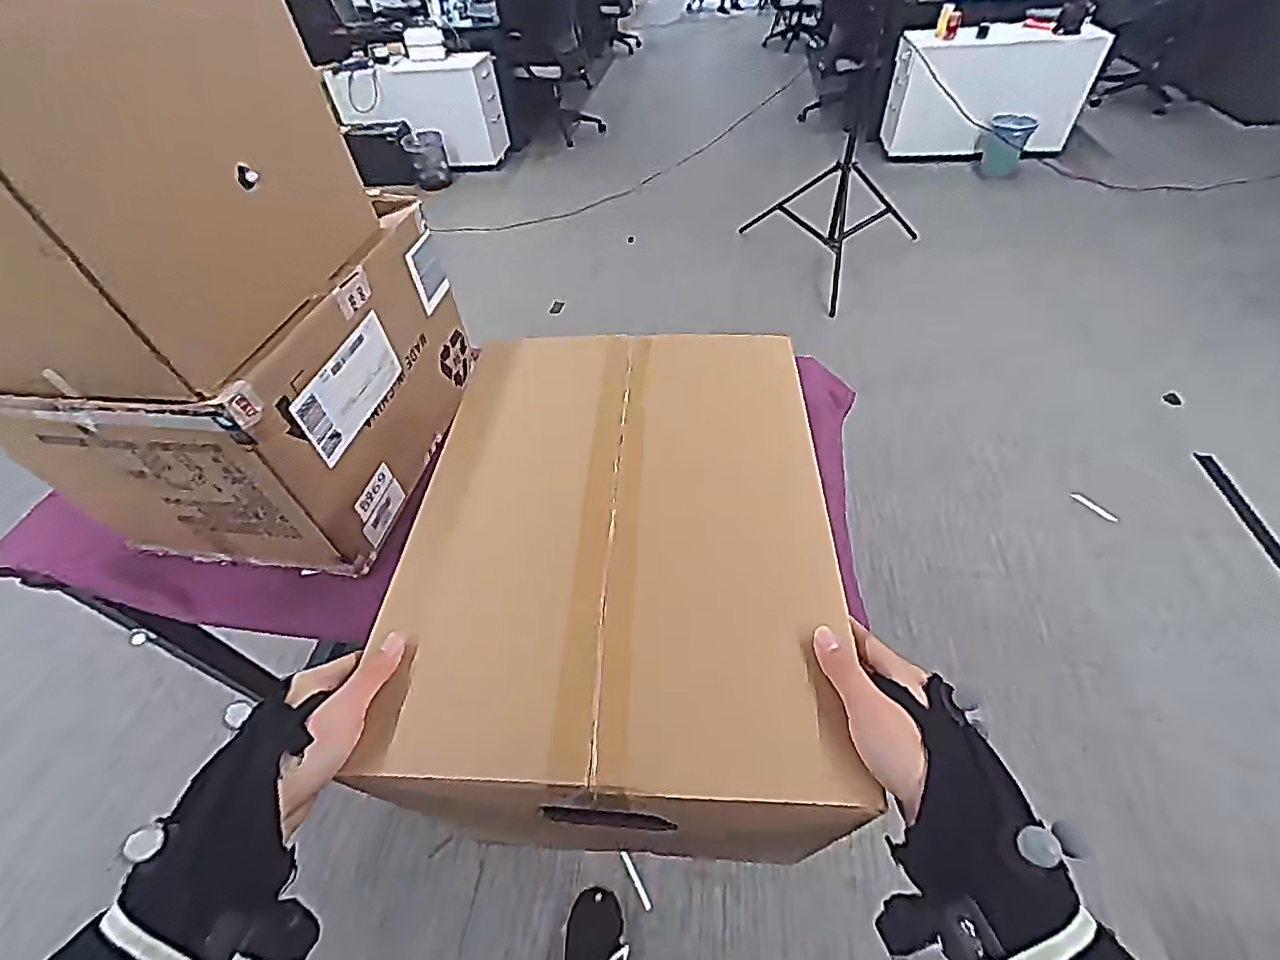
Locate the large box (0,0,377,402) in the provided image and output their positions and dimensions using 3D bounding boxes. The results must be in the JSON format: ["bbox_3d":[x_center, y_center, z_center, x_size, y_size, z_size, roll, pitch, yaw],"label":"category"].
[{"bbox_3d":[-0.570,-0.333,0.598,0.320,0.320,0.408,2,49,8],"label":"large box"}]
